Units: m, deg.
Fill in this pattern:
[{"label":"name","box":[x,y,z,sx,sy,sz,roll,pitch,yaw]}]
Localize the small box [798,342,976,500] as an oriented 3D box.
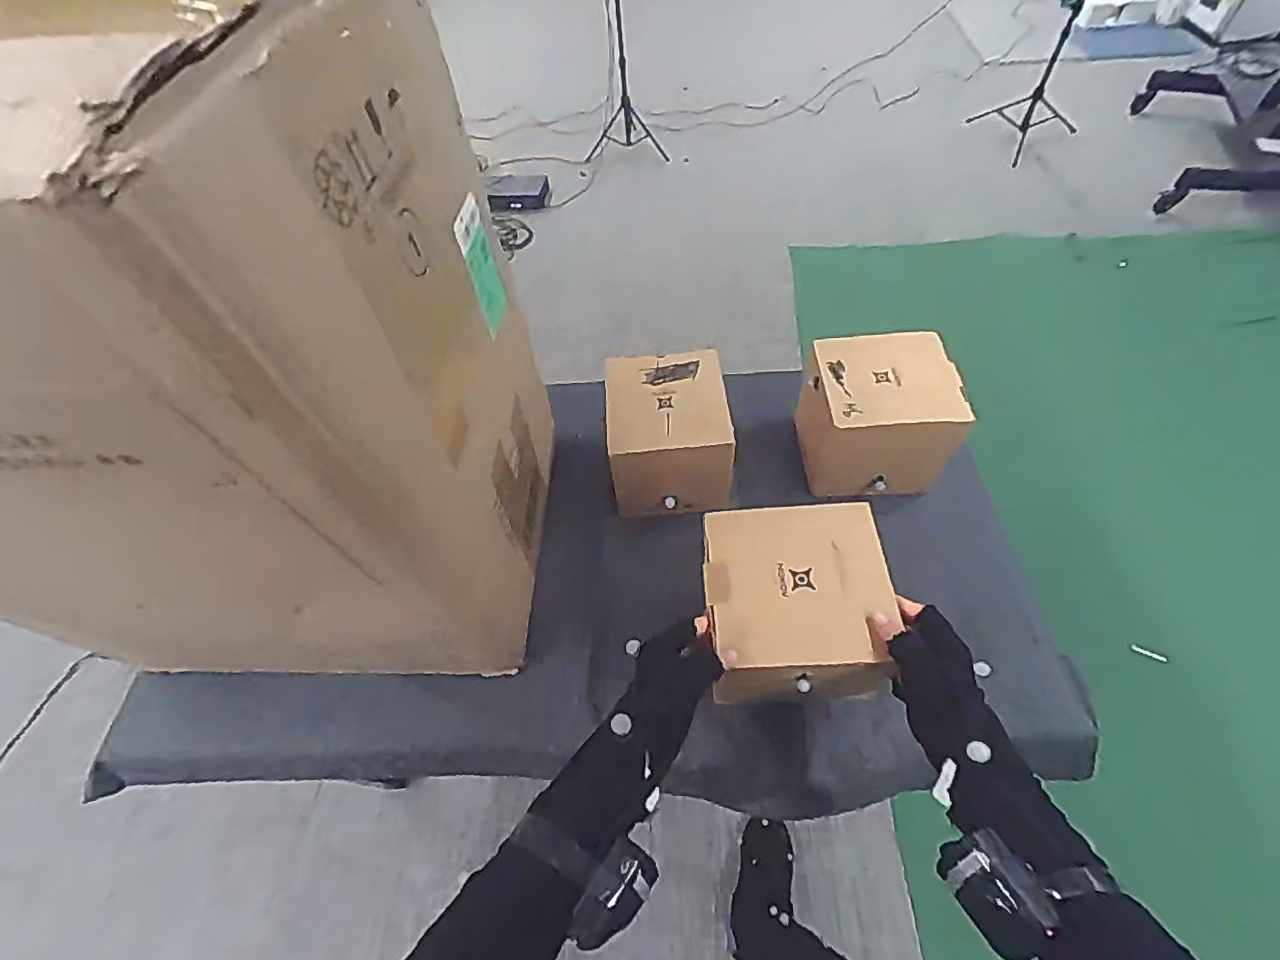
[{"label":"small box","box":[0.346,-0.082,0.798,0.179,0.176,0.168,-2,54,3]}]
